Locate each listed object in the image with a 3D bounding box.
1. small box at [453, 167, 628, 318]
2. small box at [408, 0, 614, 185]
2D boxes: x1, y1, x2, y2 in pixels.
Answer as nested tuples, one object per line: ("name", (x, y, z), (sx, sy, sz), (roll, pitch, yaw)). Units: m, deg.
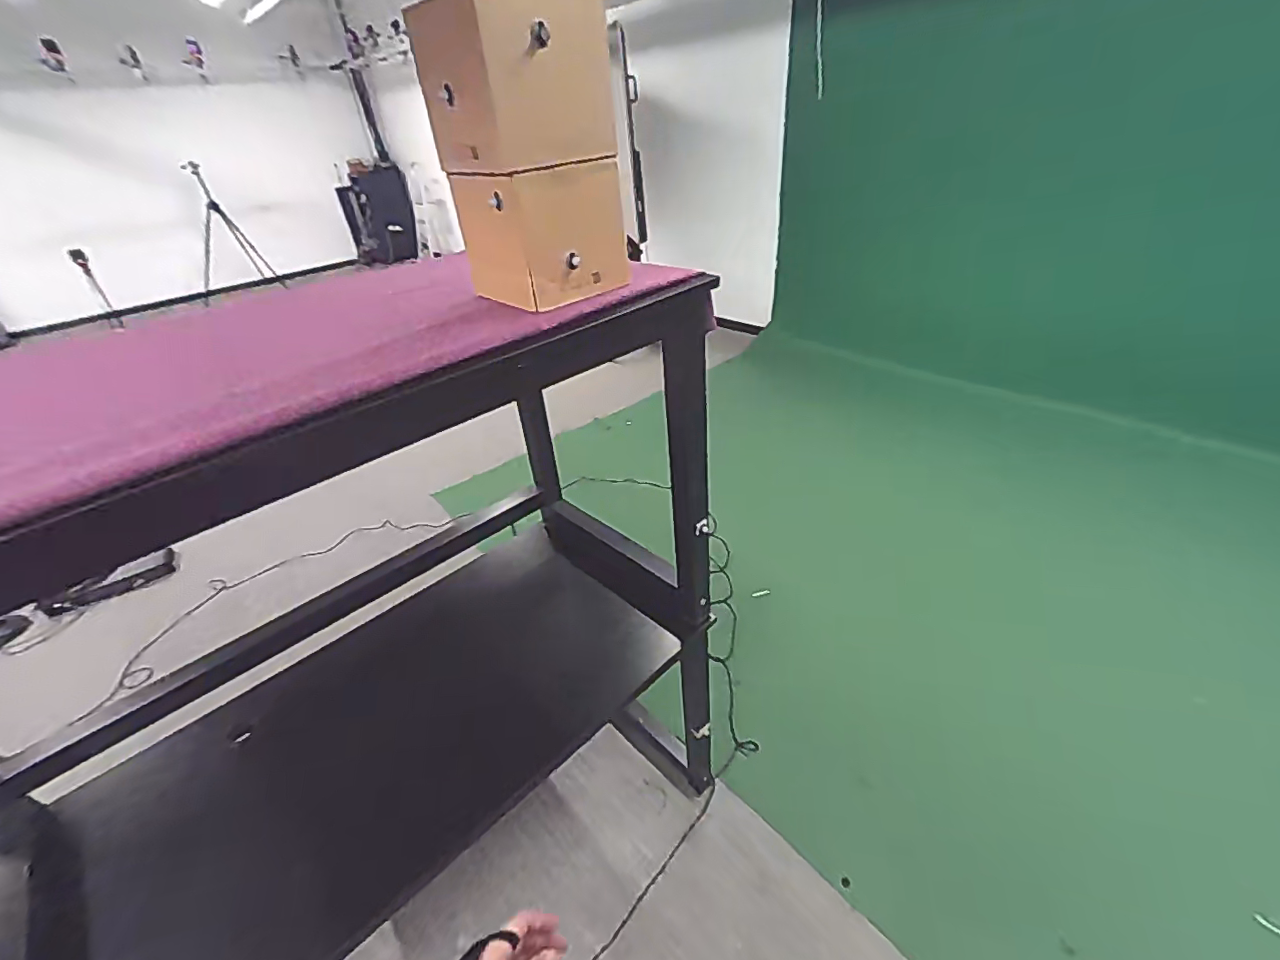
("small box", (-0.136, -0.340, 0.769), (0.168, 0.176, 0.179), (-30, 41, -32))
("small box", (-0.149, -0.471, 0.669), (0.179, 0.176, 0.168), (-31, 42, -32))
